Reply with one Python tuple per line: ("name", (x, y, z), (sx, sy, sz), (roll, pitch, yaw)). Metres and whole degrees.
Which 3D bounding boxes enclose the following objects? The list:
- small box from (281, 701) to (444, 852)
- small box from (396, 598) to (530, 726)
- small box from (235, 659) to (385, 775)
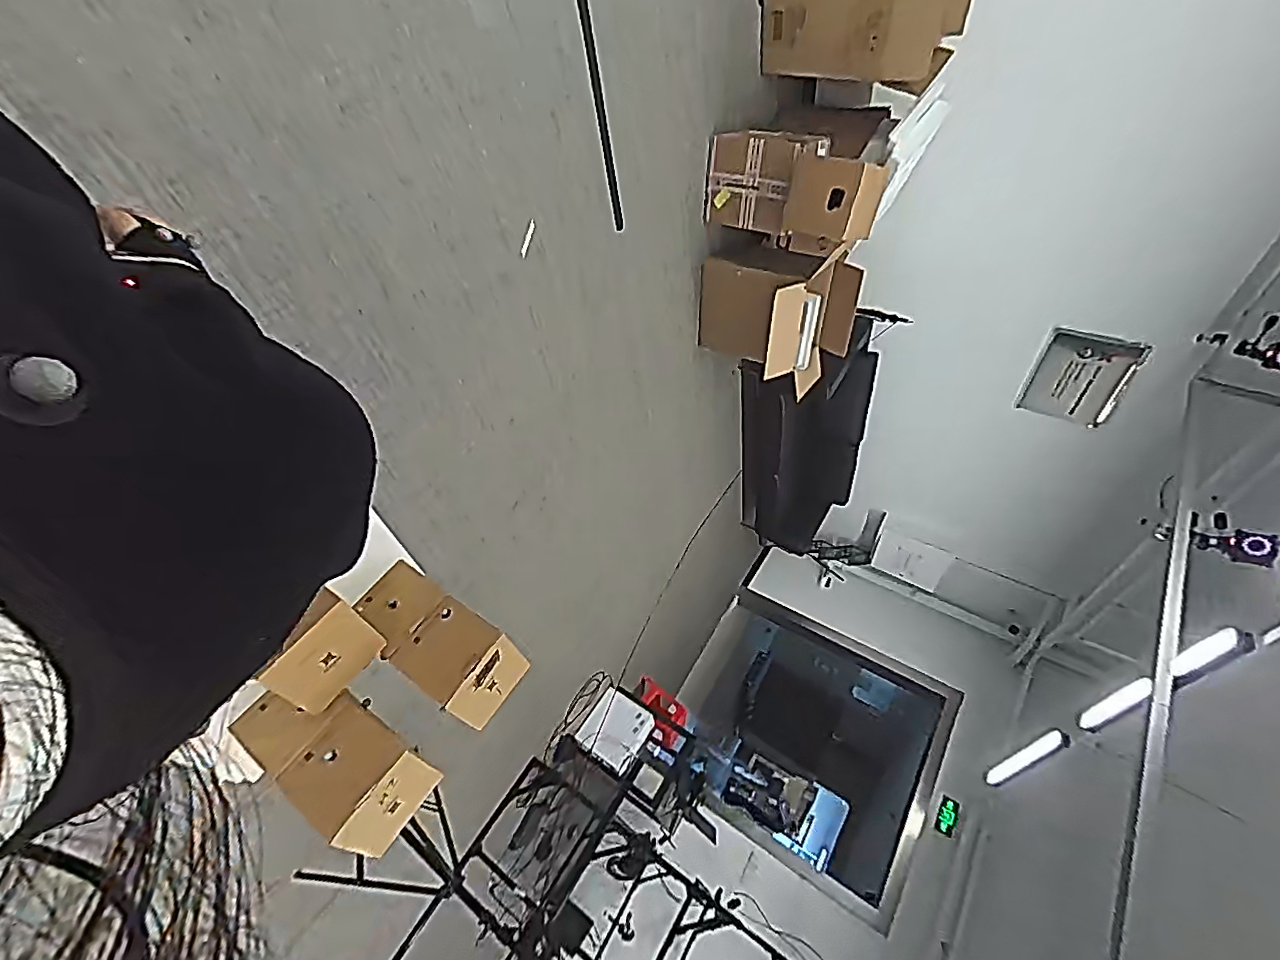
("small box", (-0.508, 0.543, 1.001), (0.168, 0.176, 0.179), (-50, 149, -30))
("small box", (-0.364, 0.370, 1.120), (0.168, 0.176, 0.179), (-51, 150, -27))
("small box", (-0.645, 0.483, 1.072), (0.168, 0.176, 0.179), (-50, 149, -31))
